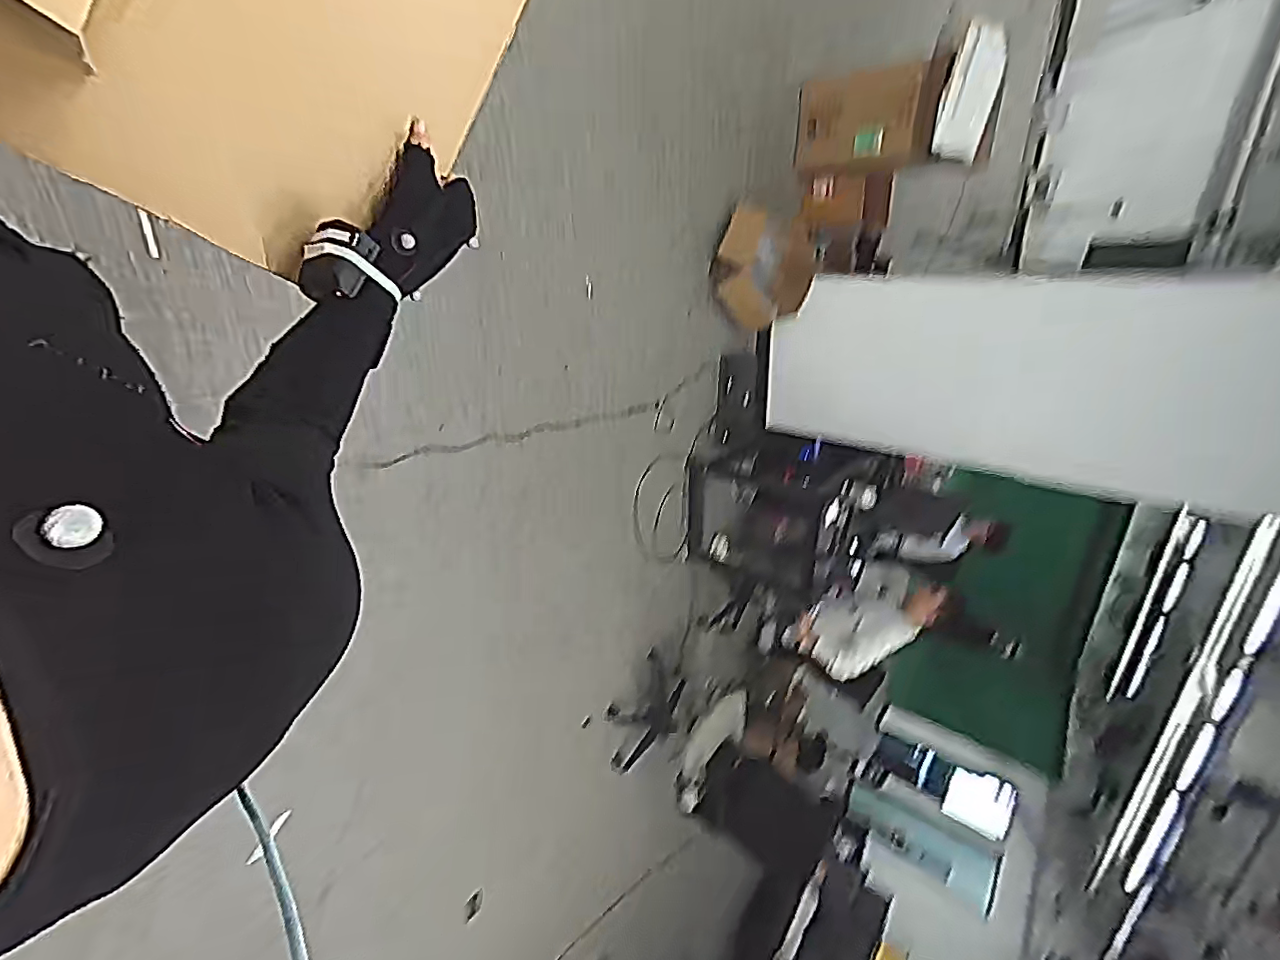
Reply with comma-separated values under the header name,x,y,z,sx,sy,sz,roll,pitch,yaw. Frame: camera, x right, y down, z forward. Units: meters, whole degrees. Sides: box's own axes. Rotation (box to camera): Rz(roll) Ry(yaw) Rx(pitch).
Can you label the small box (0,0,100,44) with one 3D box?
name,x,y,z,sx,sy,sz,roll,pitch,yaw
small box,-0.351,-0.347,0.248,0.179,0.176,0.168,22,97,-48
